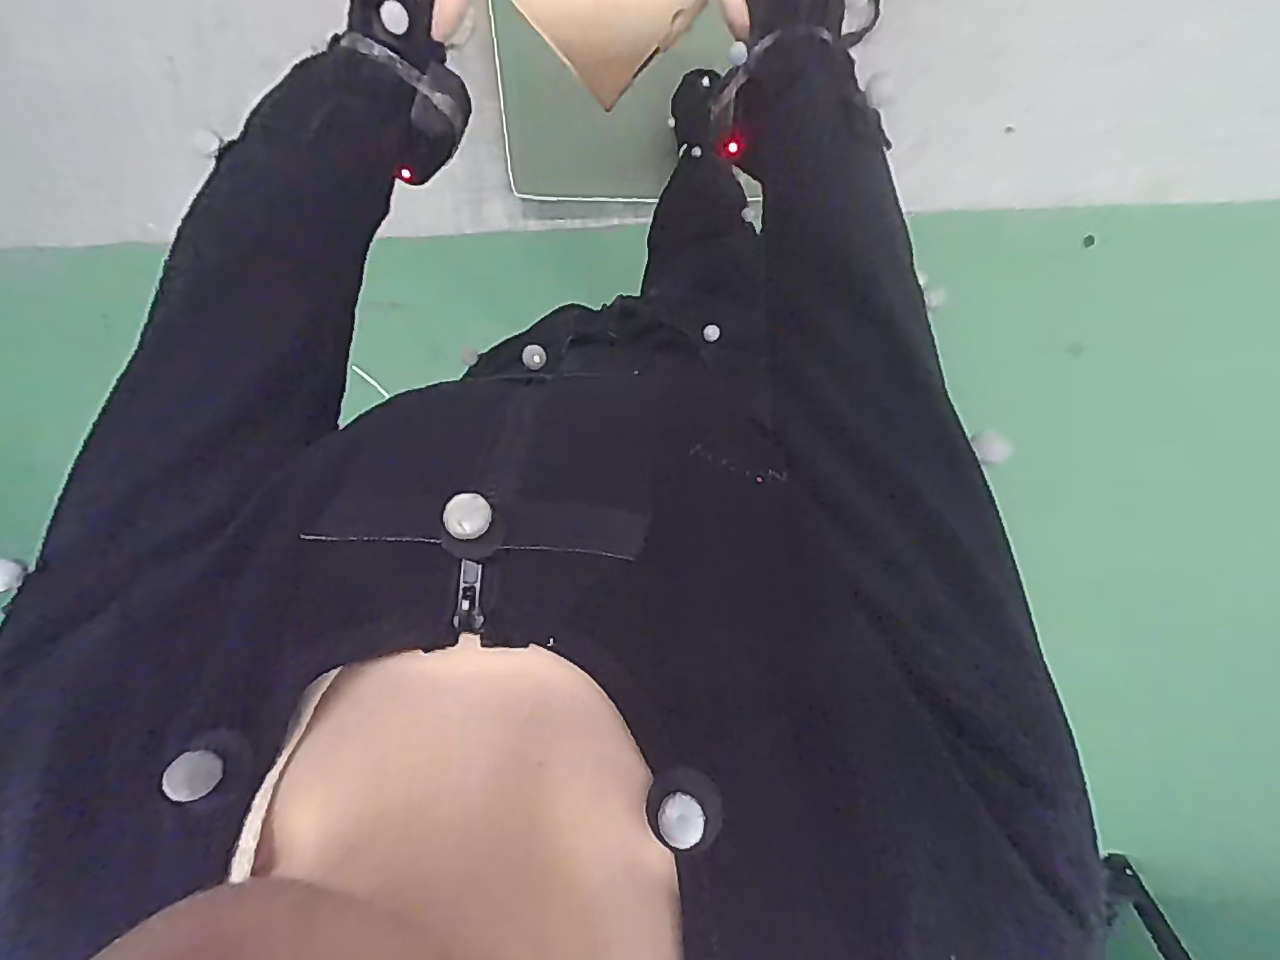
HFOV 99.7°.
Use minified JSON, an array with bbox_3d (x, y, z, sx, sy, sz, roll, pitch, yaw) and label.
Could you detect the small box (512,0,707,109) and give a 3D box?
[{"bbox_3d":[-0.027,-0.443,0.414,0.168,0.176,0.179,-33,128,30],"label":"small box"}]
